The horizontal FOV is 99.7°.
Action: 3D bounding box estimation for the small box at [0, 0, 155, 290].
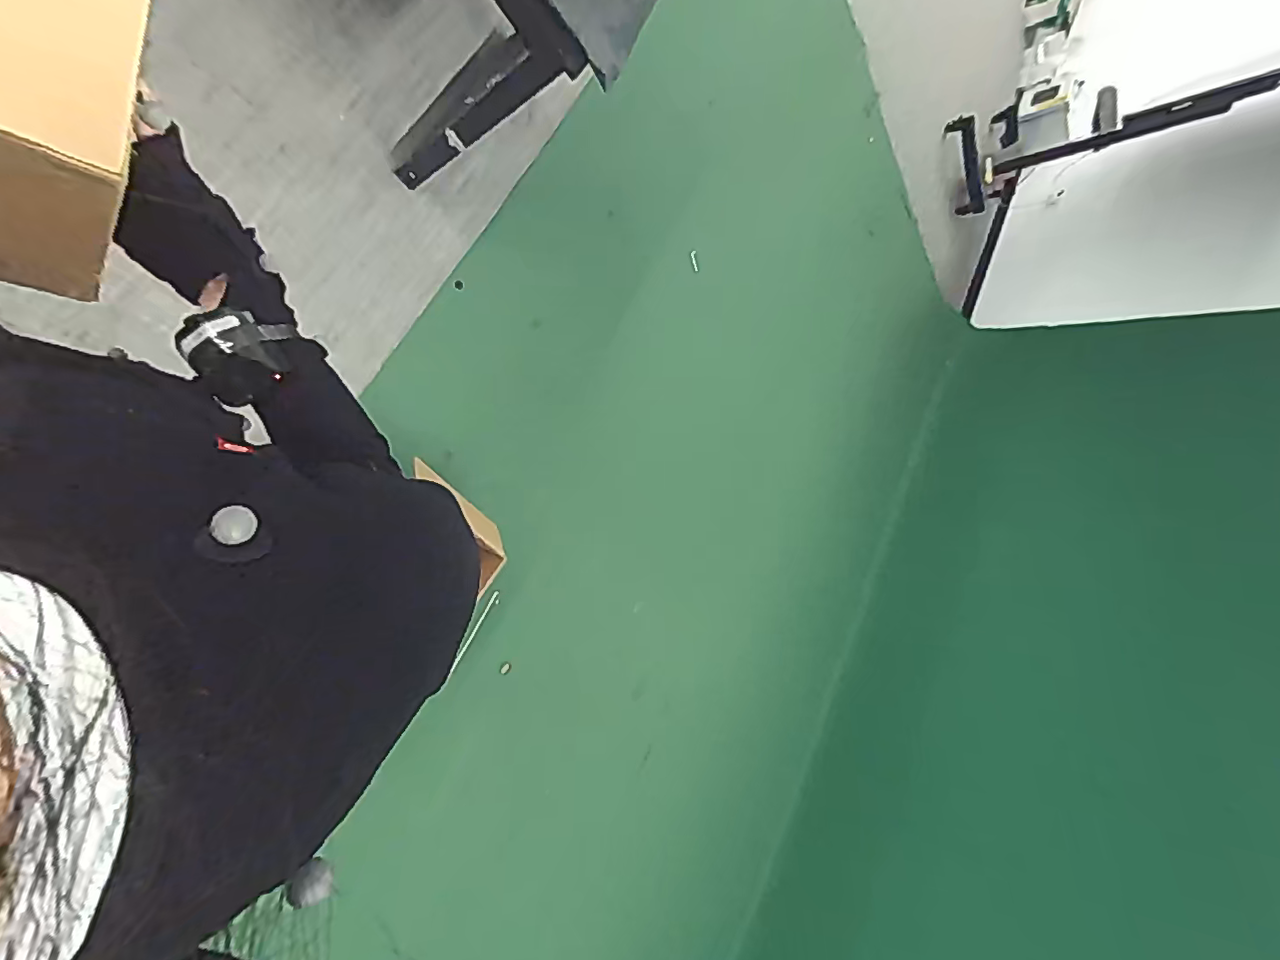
[{"bbox_3d":[-0.398,-0.241,0.300,0.168,0.176,0.179,9,73,-48],"label":"small box"}]
